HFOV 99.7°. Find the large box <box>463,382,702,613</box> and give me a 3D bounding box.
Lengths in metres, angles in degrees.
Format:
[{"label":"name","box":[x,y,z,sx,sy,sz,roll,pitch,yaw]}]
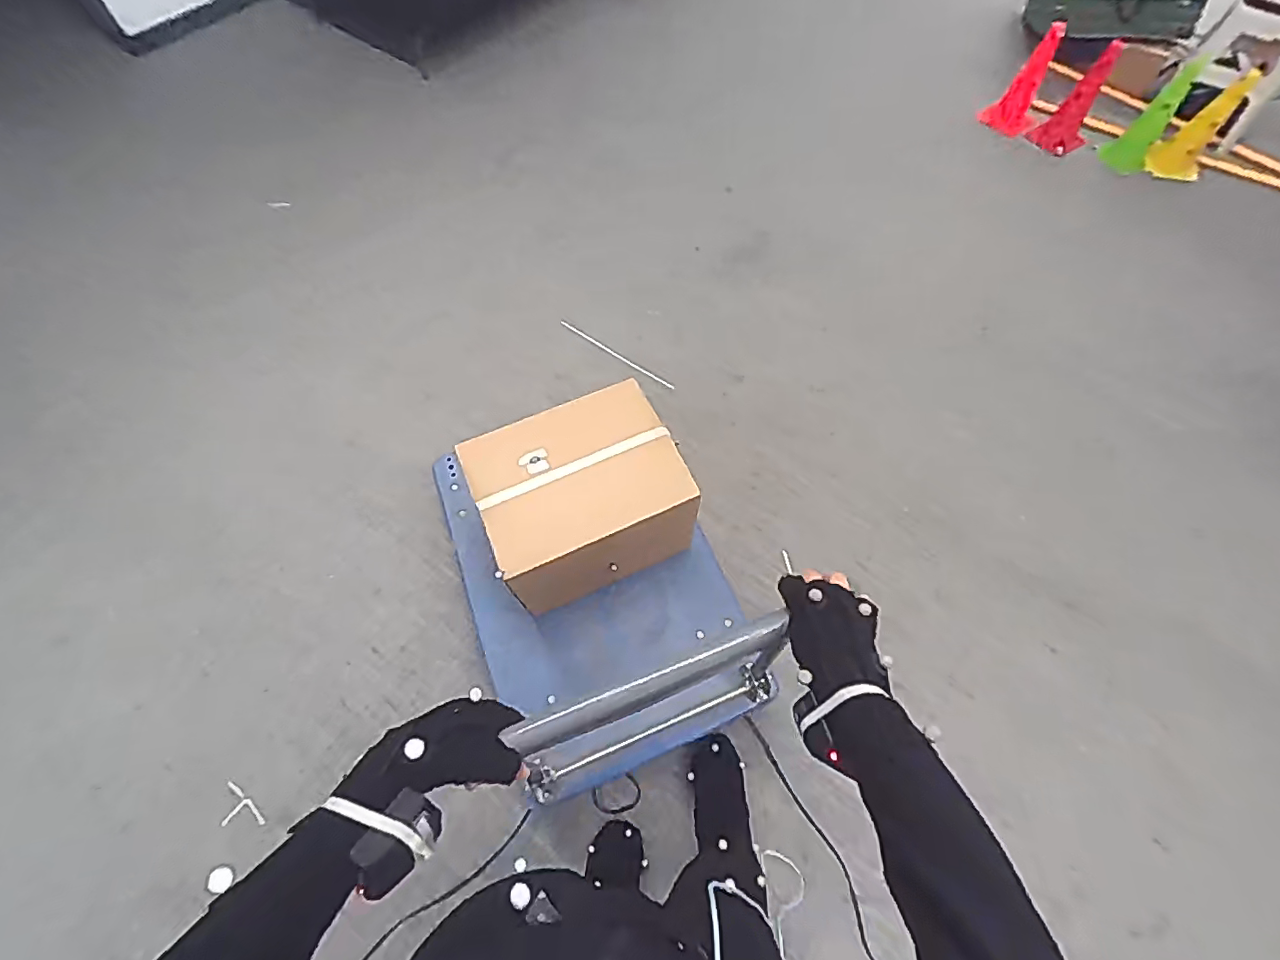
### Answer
[{"label":"large box","box":[-0.118,0.049,1.211,0.408,0.320,0.320,-23,65,-11]}]
